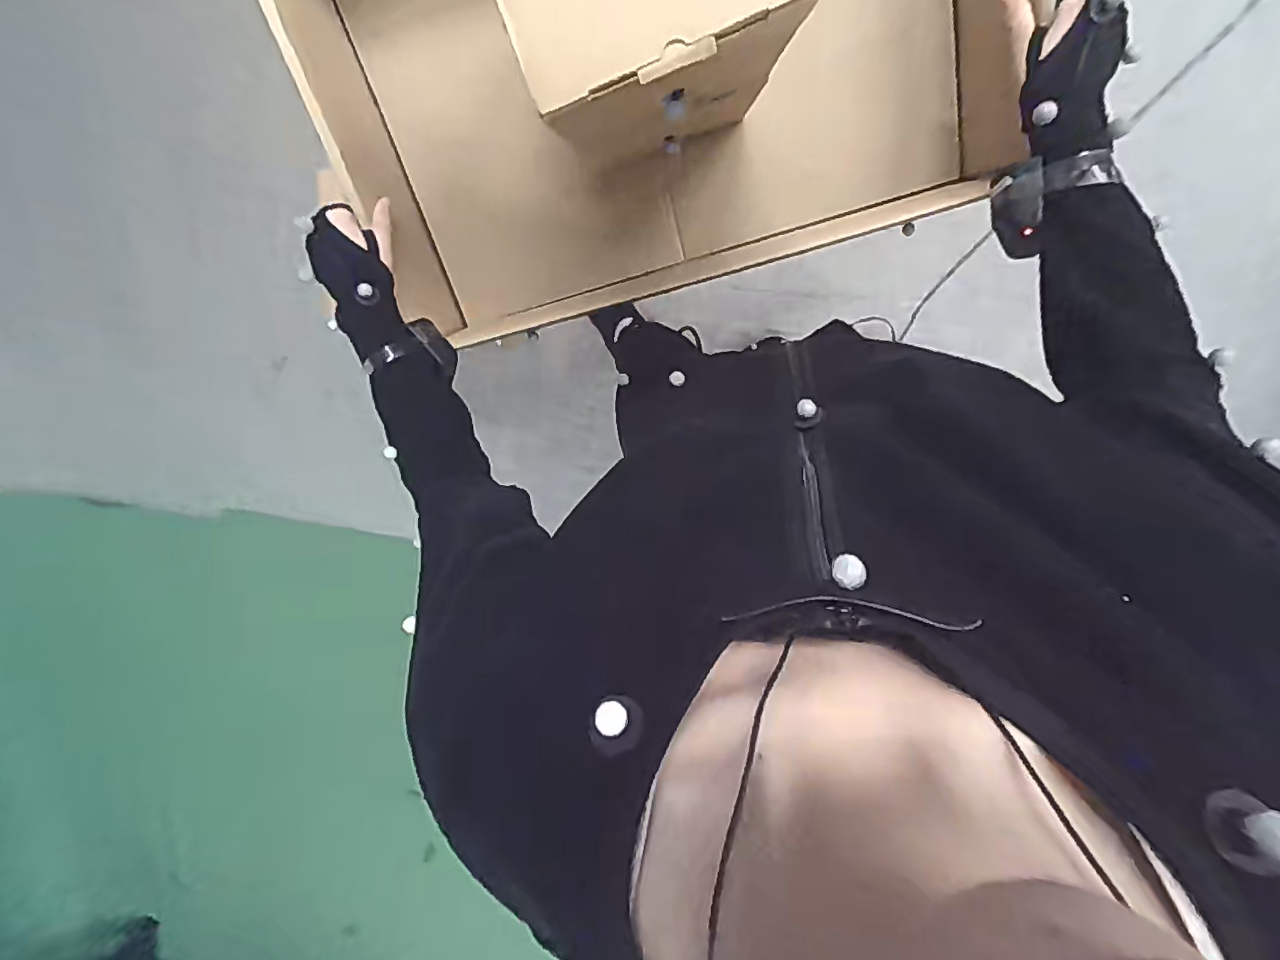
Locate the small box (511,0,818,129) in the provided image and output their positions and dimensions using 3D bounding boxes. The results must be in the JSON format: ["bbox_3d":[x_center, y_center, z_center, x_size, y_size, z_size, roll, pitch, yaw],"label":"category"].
[{"bbox_3d":[0.002,-0.341,0.330,0.168,0.176,0.179,-17,113,10],"label":"small box"}]
